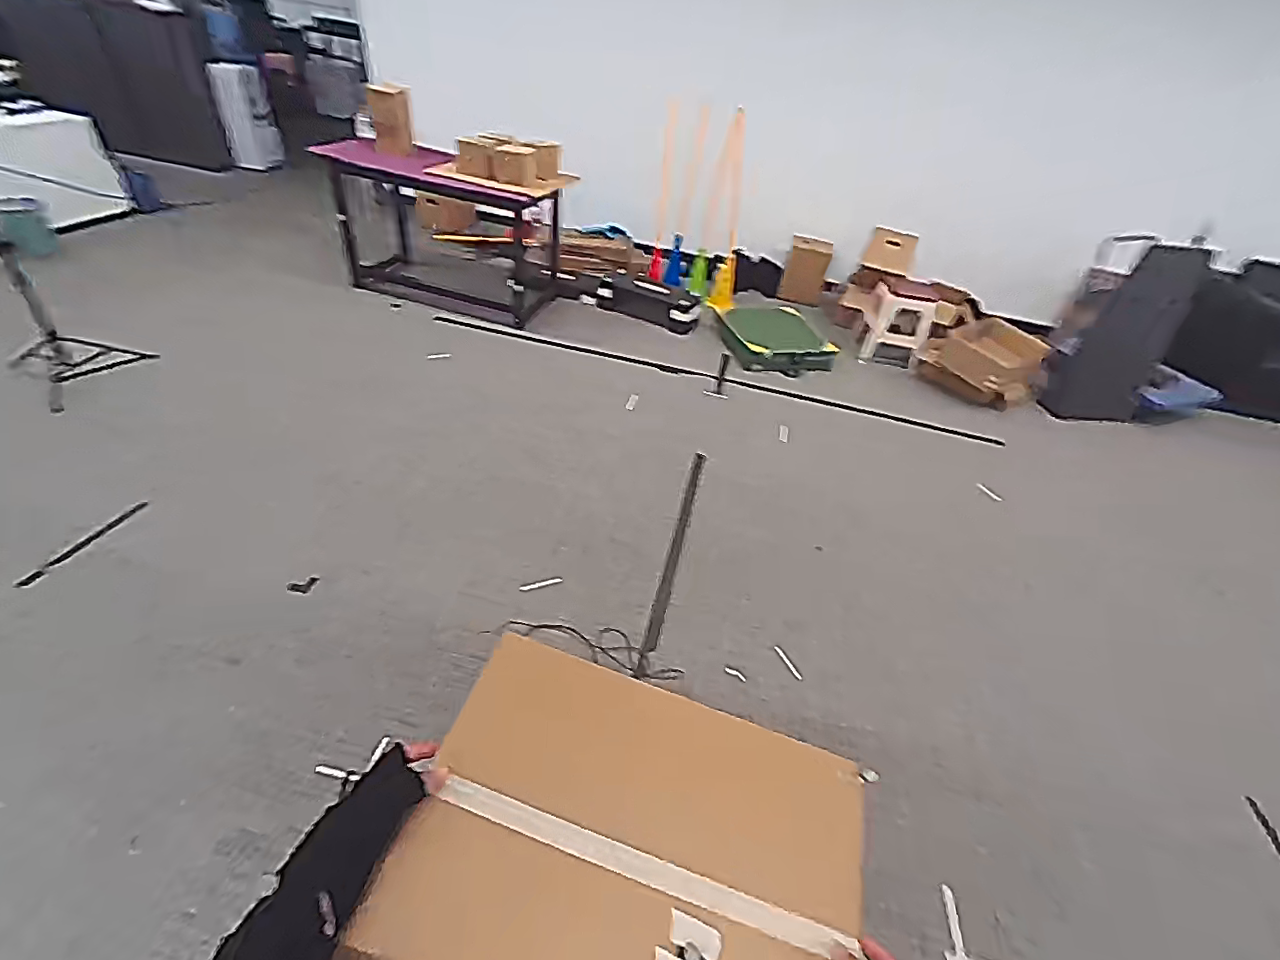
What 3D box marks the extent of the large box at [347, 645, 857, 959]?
[{"bbox_3d":[-0.026,0.446,0.598,0.408,0.320,0.320,19,49,7],"label":"large box"}]
